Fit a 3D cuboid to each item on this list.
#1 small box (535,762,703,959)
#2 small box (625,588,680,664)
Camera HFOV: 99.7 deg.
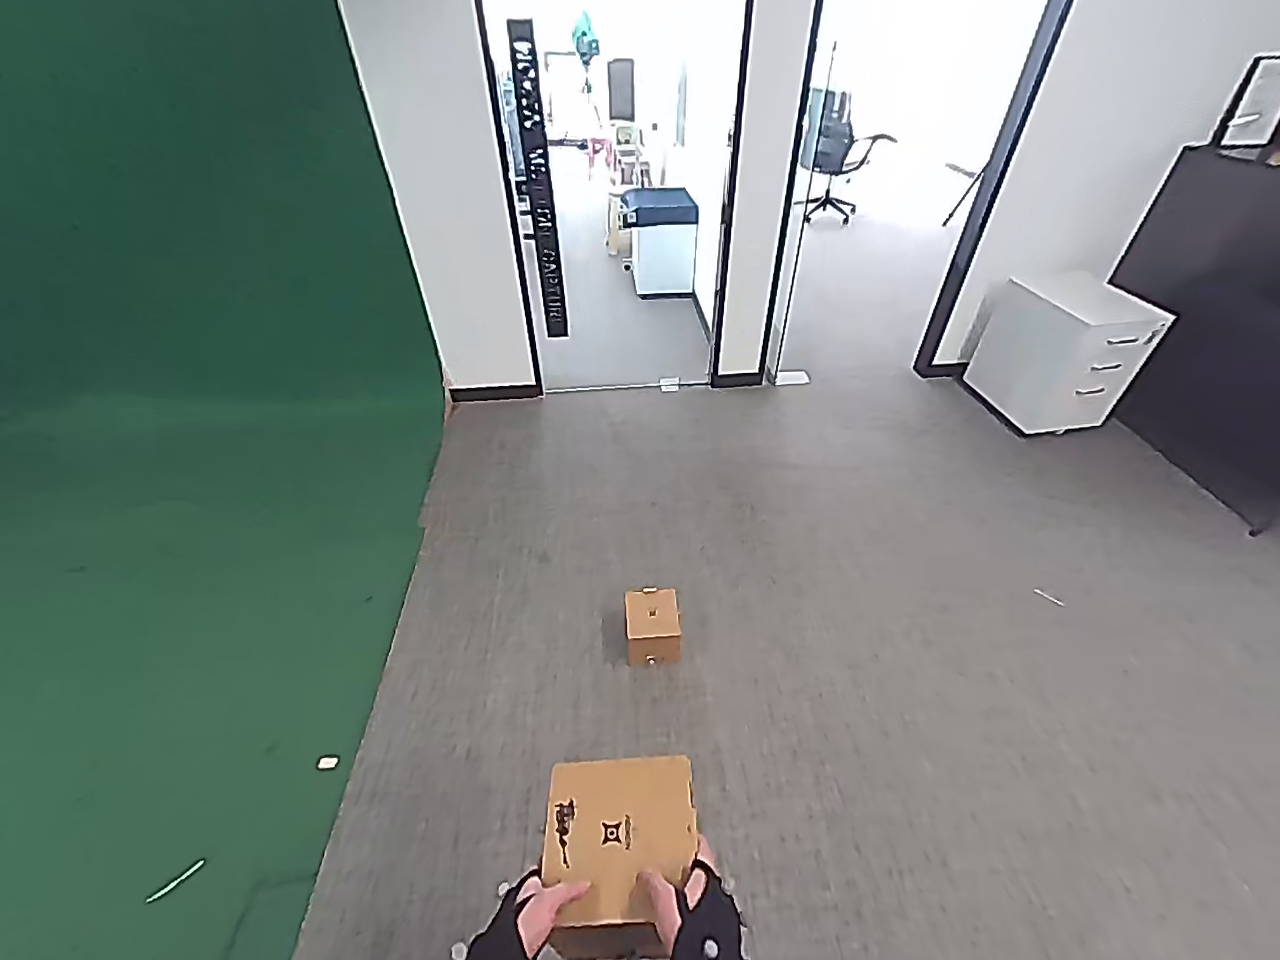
[{"bbox_3d":[-0.017,0.469,0.667,0.179,0.176,0.168,-4,38,3],"label":"small box"},{"bbox_3d":[0.038,0.467,1.734,0.168,0.176,0.179,-3,42,0],"label":"small box"}]
